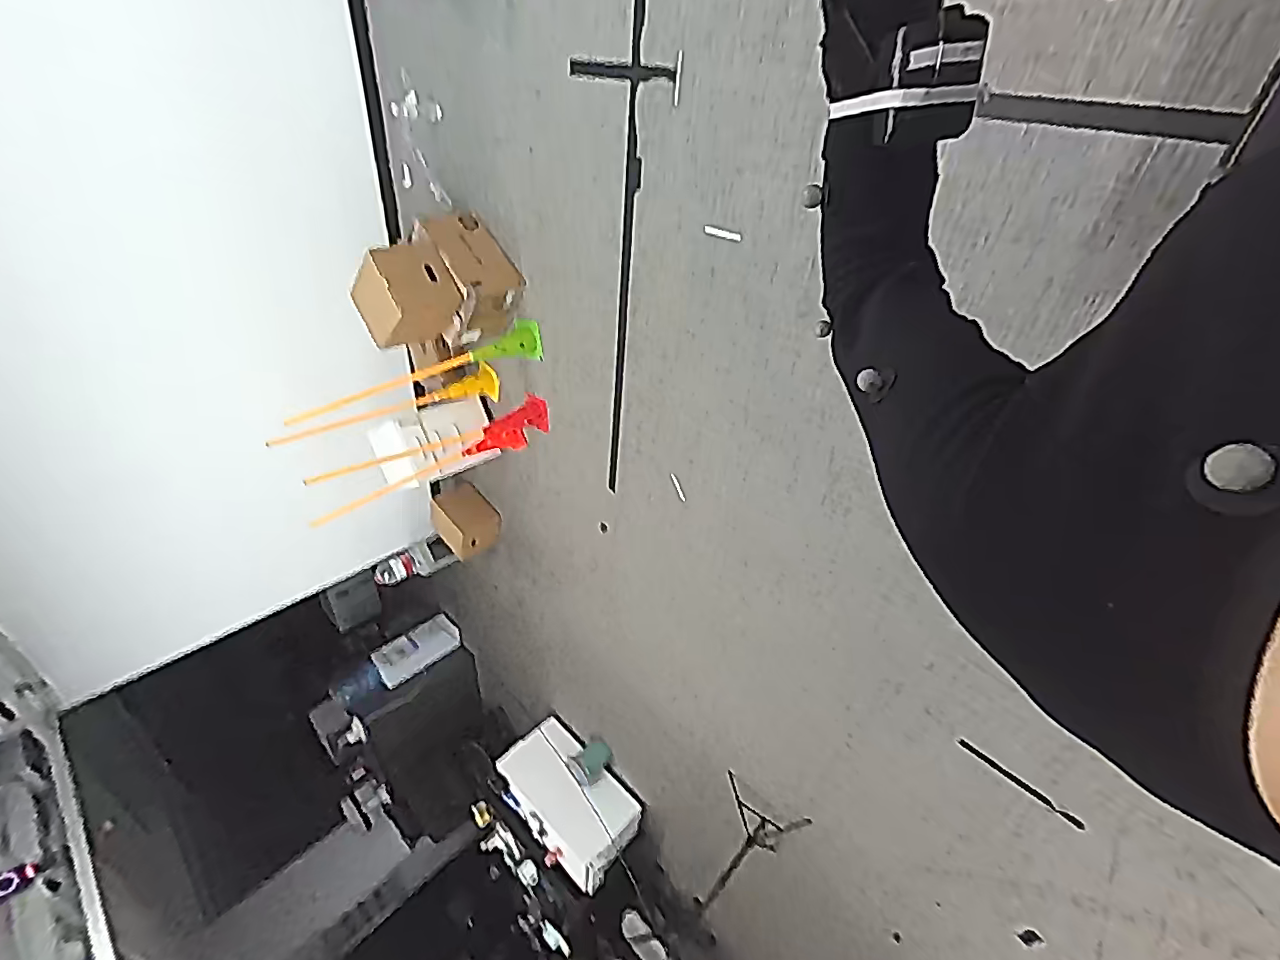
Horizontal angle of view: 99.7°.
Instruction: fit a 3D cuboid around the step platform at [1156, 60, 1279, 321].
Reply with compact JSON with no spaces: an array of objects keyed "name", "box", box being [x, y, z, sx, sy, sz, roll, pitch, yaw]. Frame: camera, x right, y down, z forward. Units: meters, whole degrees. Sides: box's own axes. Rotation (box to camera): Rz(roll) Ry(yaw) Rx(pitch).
[{"name":"step platform","box":[1.188,-0.611,0.874,0.286,0.204,0.684,29,130,34]}]
